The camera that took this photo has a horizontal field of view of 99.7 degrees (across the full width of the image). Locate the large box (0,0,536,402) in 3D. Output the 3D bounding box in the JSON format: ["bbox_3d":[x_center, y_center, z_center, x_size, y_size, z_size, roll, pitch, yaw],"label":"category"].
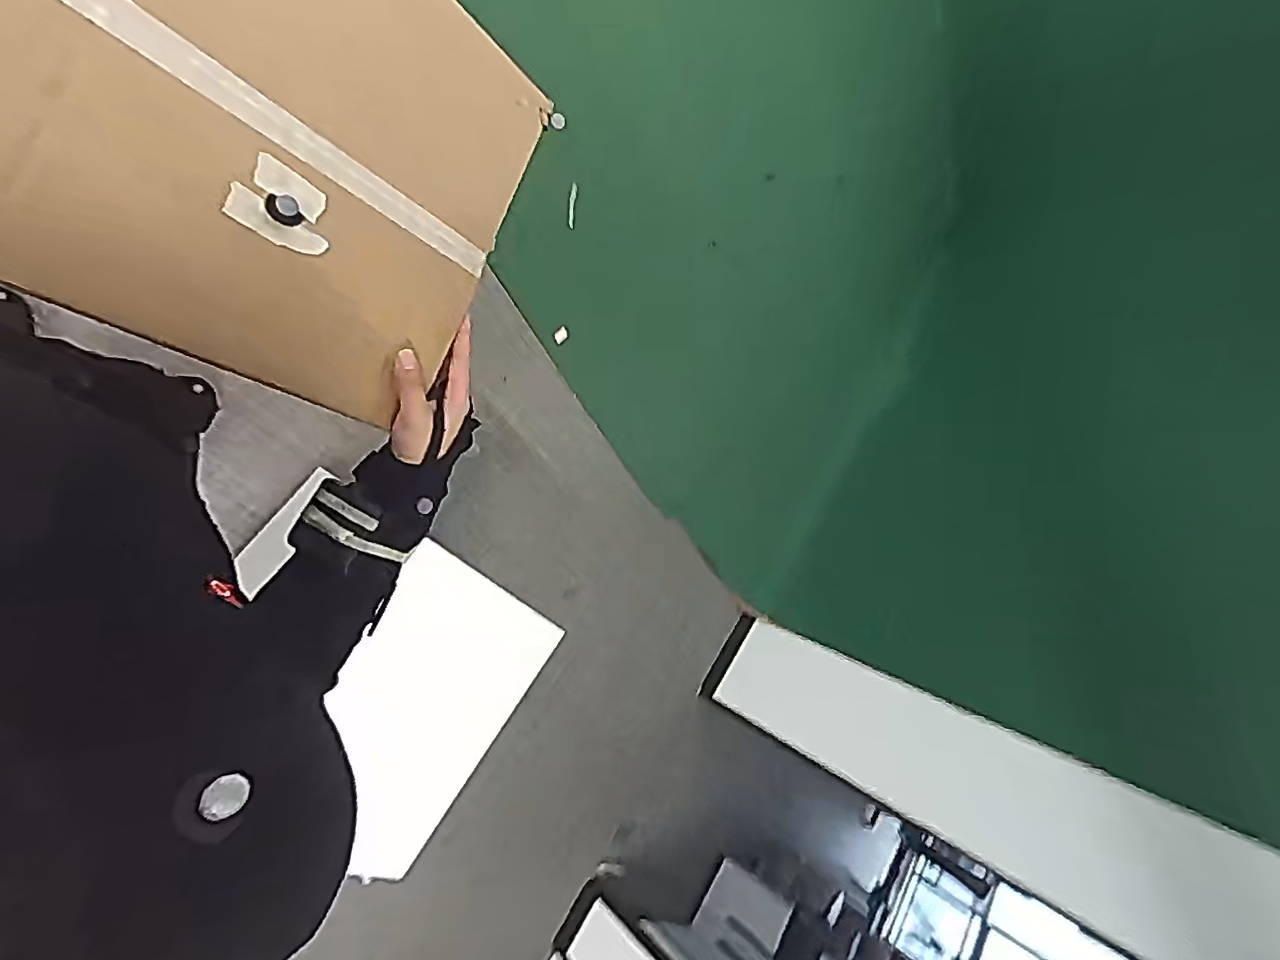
[{"bbox_3d":[-0.369,-0.293,0.417,0.408,0.320,0.320,25,87,-47],"label":"large box"}]
